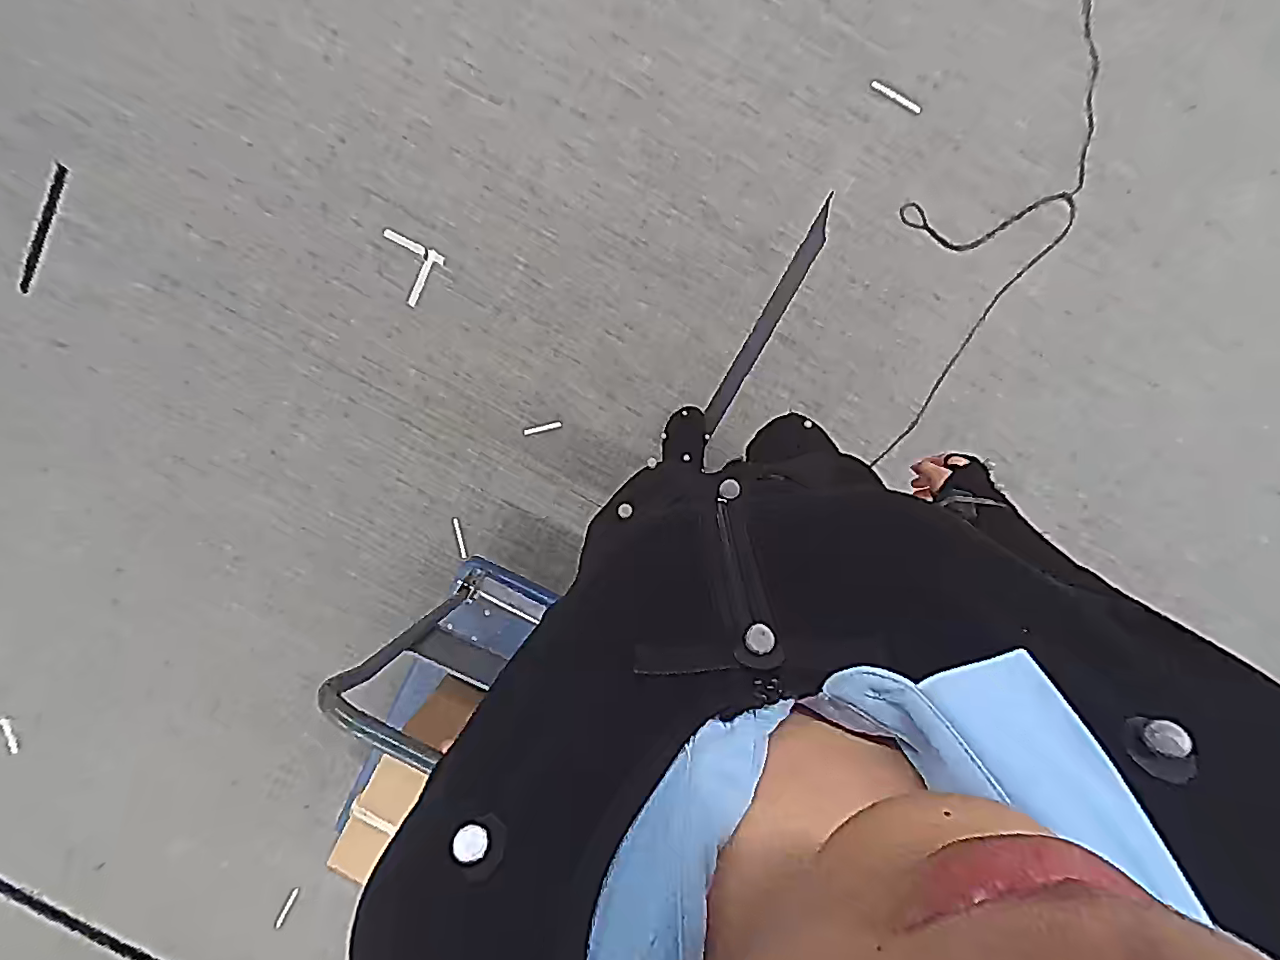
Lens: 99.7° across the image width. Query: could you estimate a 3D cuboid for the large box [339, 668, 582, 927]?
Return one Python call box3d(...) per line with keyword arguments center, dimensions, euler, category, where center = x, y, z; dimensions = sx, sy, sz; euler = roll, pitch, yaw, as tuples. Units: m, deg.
box3d(center=(-0.396, 0.722, 1.285), dimensions=(0.408, 0.320, 0.320), euler=(29, 98, -2), category="large box")
